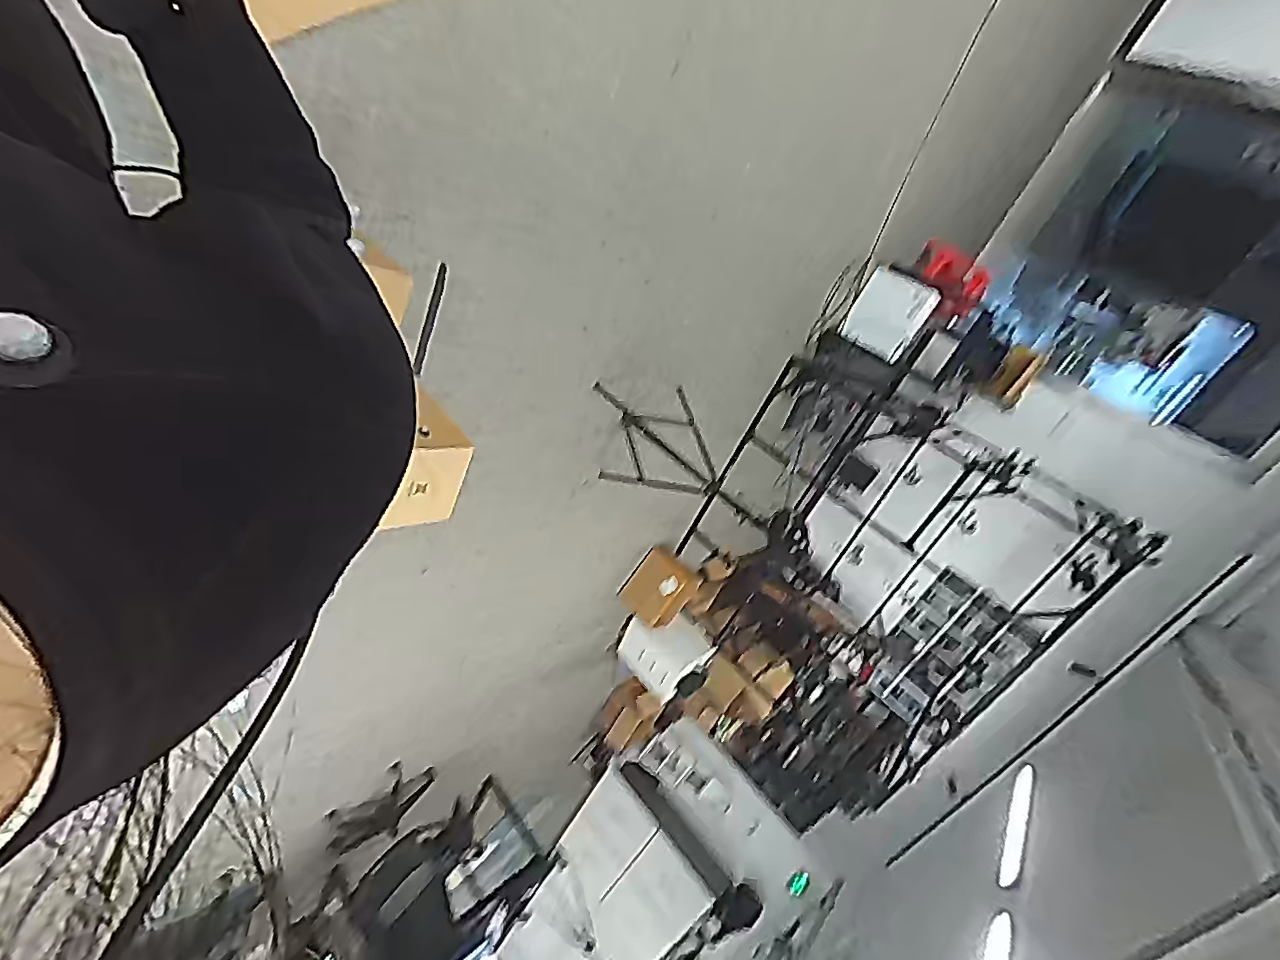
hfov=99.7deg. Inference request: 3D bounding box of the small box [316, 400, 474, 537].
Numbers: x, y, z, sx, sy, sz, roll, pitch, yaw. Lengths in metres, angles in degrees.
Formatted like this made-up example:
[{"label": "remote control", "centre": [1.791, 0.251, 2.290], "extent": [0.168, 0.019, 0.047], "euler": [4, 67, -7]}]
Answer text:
[{"label": "small box", "centre": [-0.427, -0.027, 0.942], "extent": [0.179, 0.176, 0.168], "euler": [-6, 131, -52]}]
